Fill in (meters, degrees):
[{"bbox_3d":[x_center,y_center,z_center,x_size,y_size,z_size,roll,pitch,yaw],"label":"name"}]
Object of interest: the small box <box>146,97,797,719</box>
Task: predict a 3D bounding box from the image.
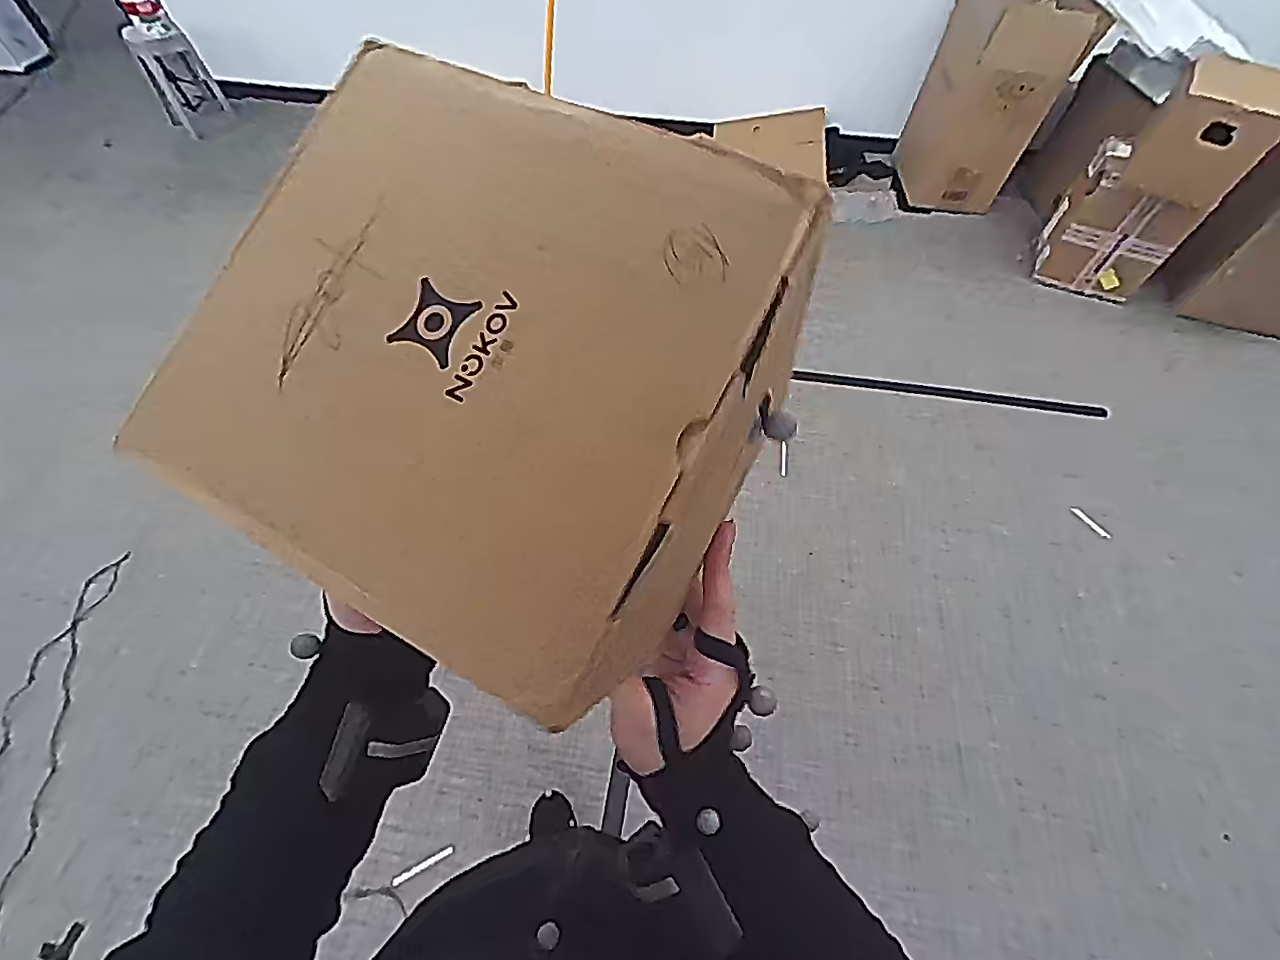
[{"bbox_3d":[-0.047,-0.023,0.253,0.179,0.176,0.168,23,83,14],"label":"small box"}]
